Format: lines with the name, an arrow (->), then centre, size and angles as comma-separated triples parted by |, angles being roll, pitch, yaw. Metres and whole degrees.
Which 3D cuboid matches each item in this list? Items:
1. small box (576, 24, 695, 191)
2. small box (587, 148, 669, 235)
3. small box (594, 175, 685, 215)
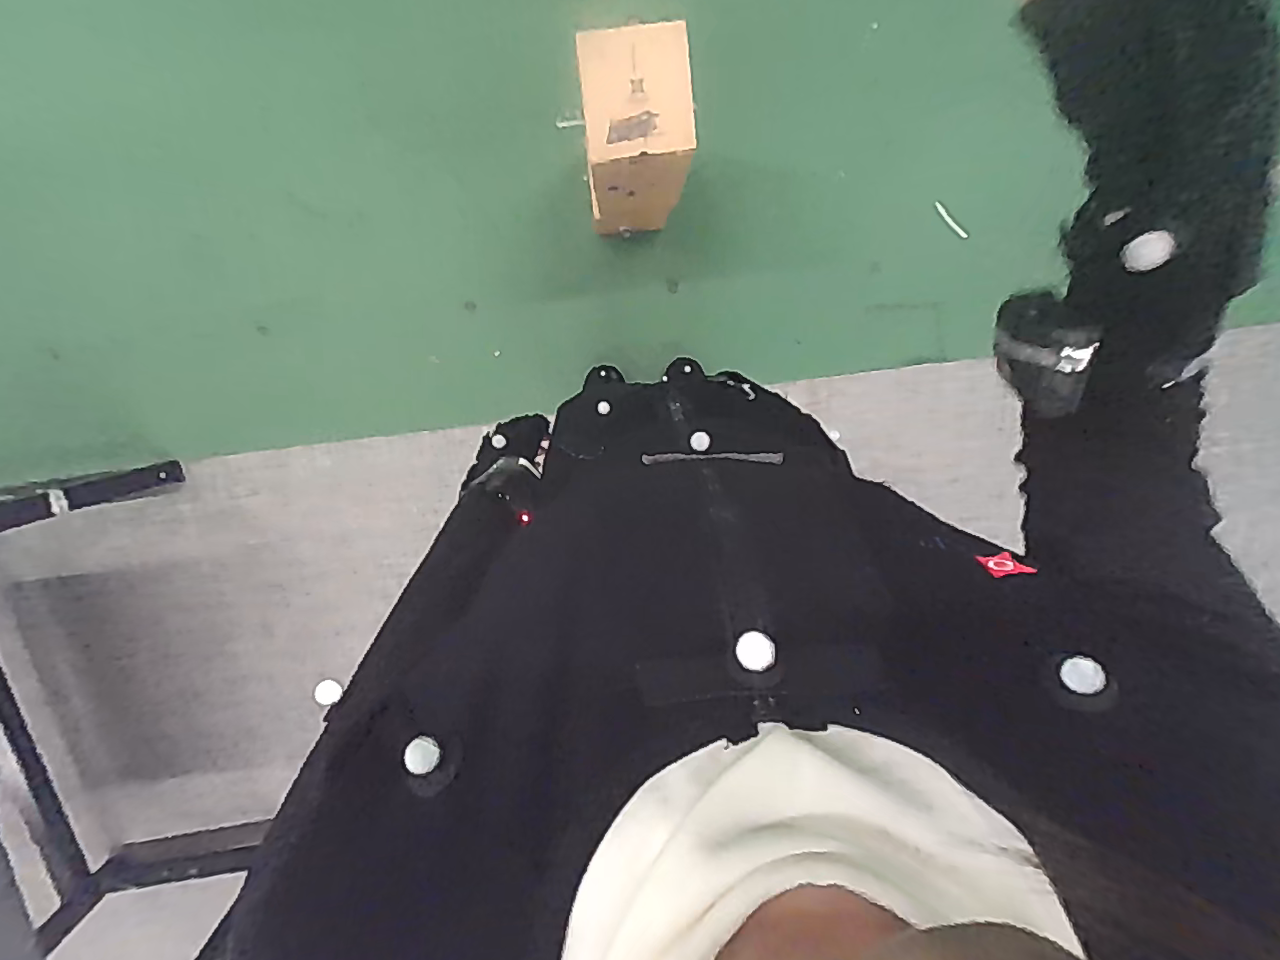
small box -> -0.007, -0.590, 0.882 | 0.168, 0.176, 0.179 | -7, 102, -1
small box -> -0.027, -0.654, 1.185 | 0.168, 0.176, 0.179 | -4, 103, 0
small box -> -0.011, -0.628, 1.043 | 0.168, 0.176, 0.179 | -7, 102, -1
